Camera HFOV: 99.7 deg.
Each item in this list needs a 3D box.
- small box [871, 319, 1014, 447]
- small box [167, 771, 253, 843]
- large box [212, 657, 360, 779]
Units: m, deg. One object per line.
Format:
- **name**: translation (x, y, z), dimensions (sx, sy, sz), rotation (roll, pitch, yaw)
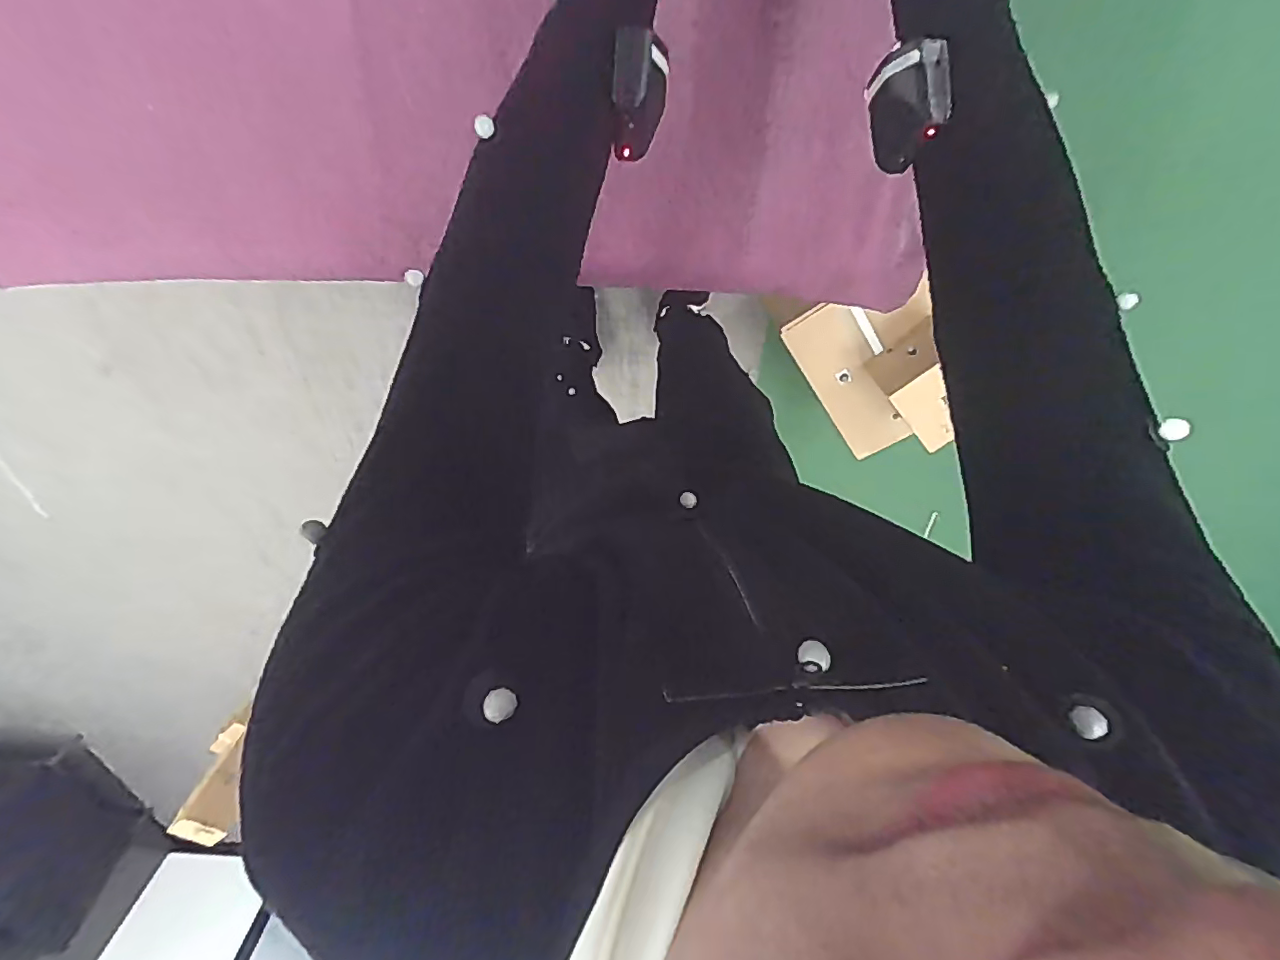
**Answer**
- **small box**: translation (0.605, -0.206, 1.105), dimensions (0.168, 0.176, 0.179), rotation (-37, 115, 24)
- **small box**: translation (-1.618, 1.236, 2.046), dimensions (0.179, 0.176, 0.168), rotation (-37, 115, 26)
- **large box**: translation (-1.571, 1.068, 2.426), dimensions (0.408, 0.320, 0.320), rotation (40, 119, -22)
